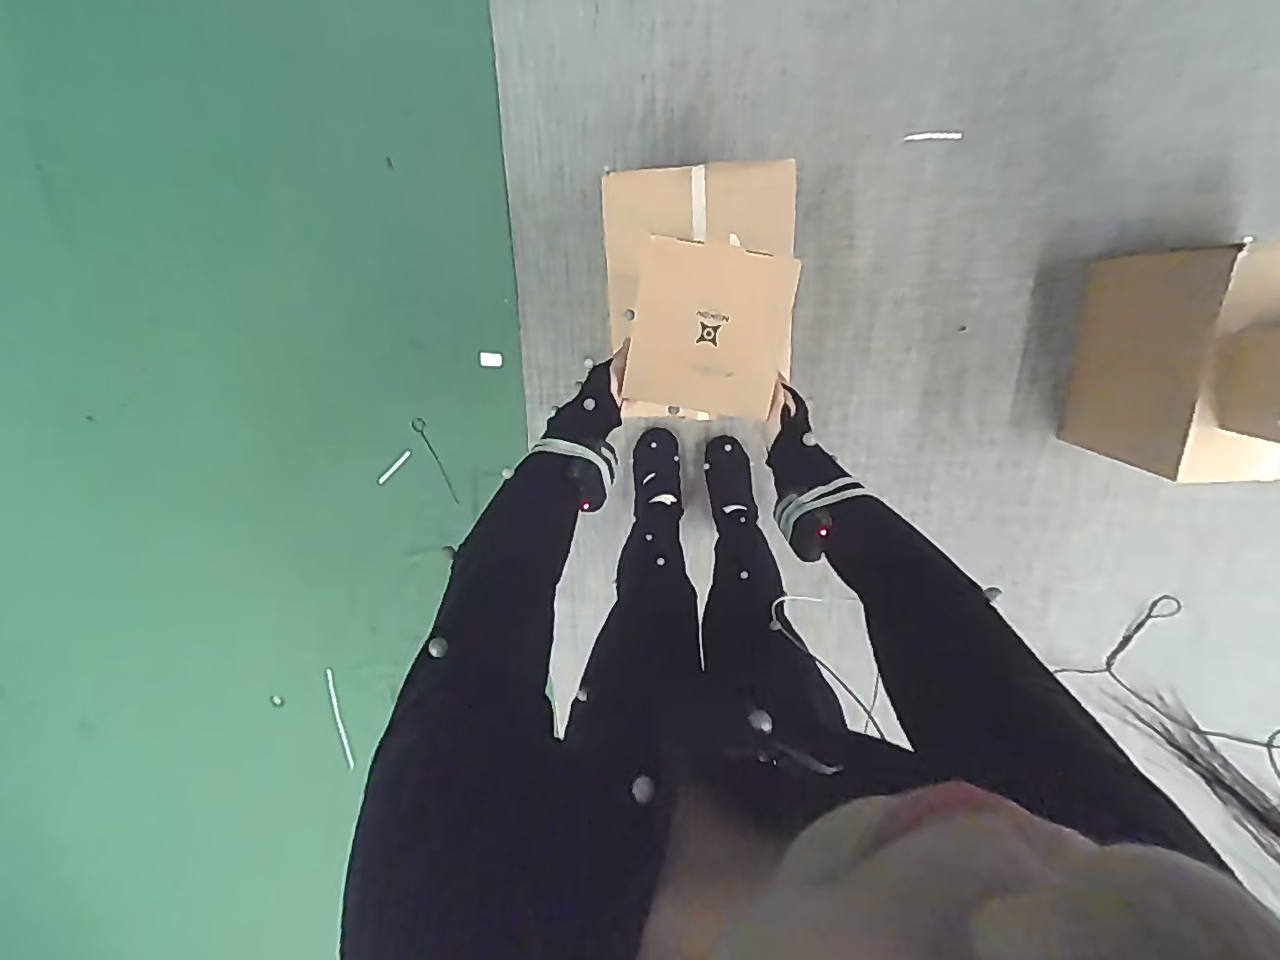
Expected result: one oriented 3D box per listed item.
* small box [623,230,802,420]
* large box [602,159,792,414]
[{"bbox_3d":[0.079,-0.179,0.661,0.168,0.176,0.179,11,101,1],"label":"small box"},{"bbox_3d":[0.113,-0.359,1.068,0.320,0.320,0.408,-2,107,4],"label":"large box"}]
